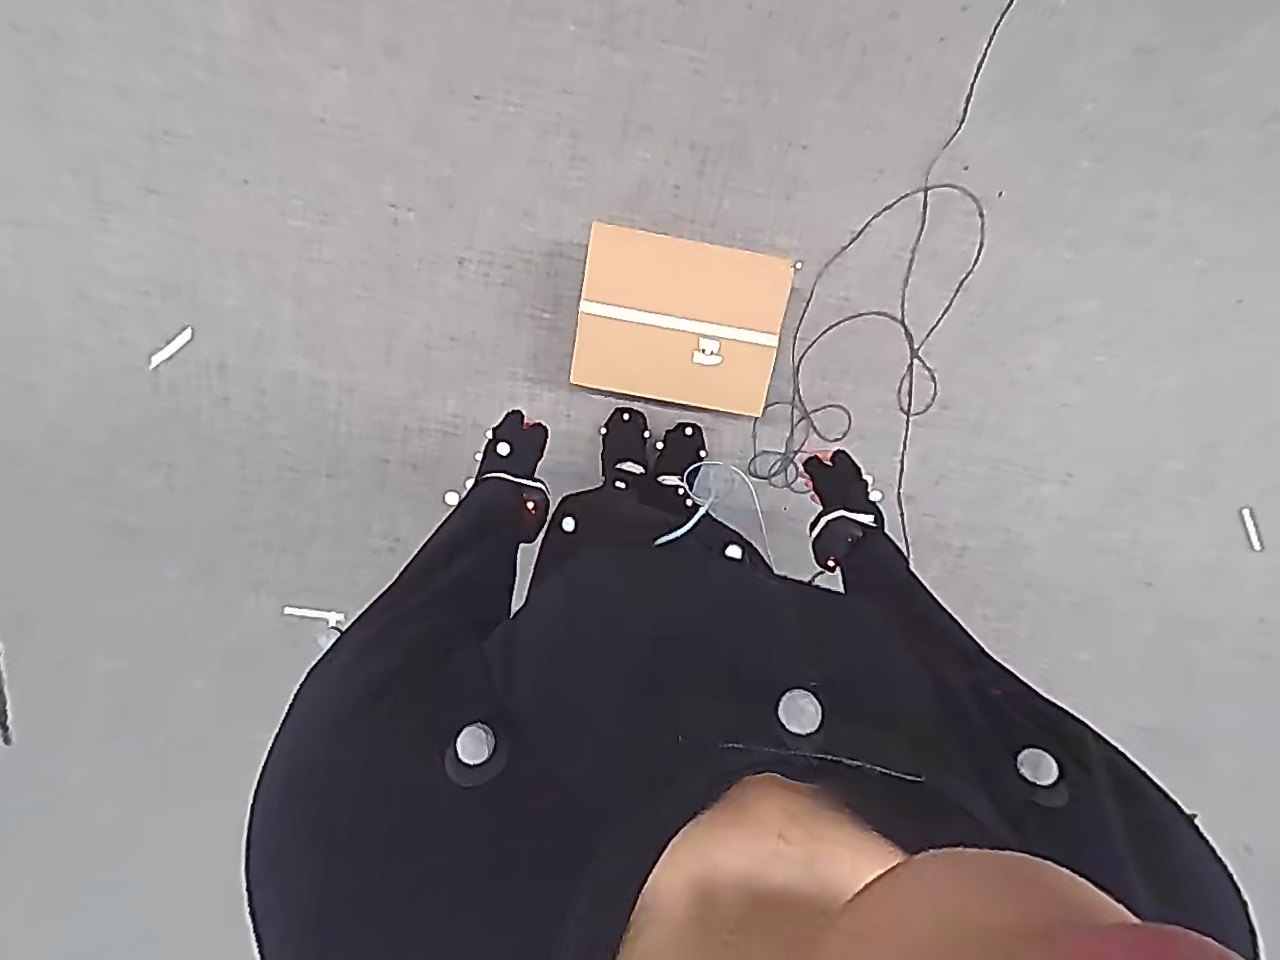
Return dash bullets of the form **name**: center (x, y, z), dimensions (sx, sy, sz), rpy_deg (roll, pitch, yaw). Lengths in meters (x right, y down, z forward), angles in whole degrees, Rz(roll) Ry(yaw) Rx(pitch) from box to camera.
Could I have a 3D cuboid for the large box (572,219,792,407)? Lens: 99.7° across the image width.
- **large box**: center (0.076, -0.364, 1.228), dimensions (0.408, 0.320, 0.320), rpy_deg (10, 105, -3)
